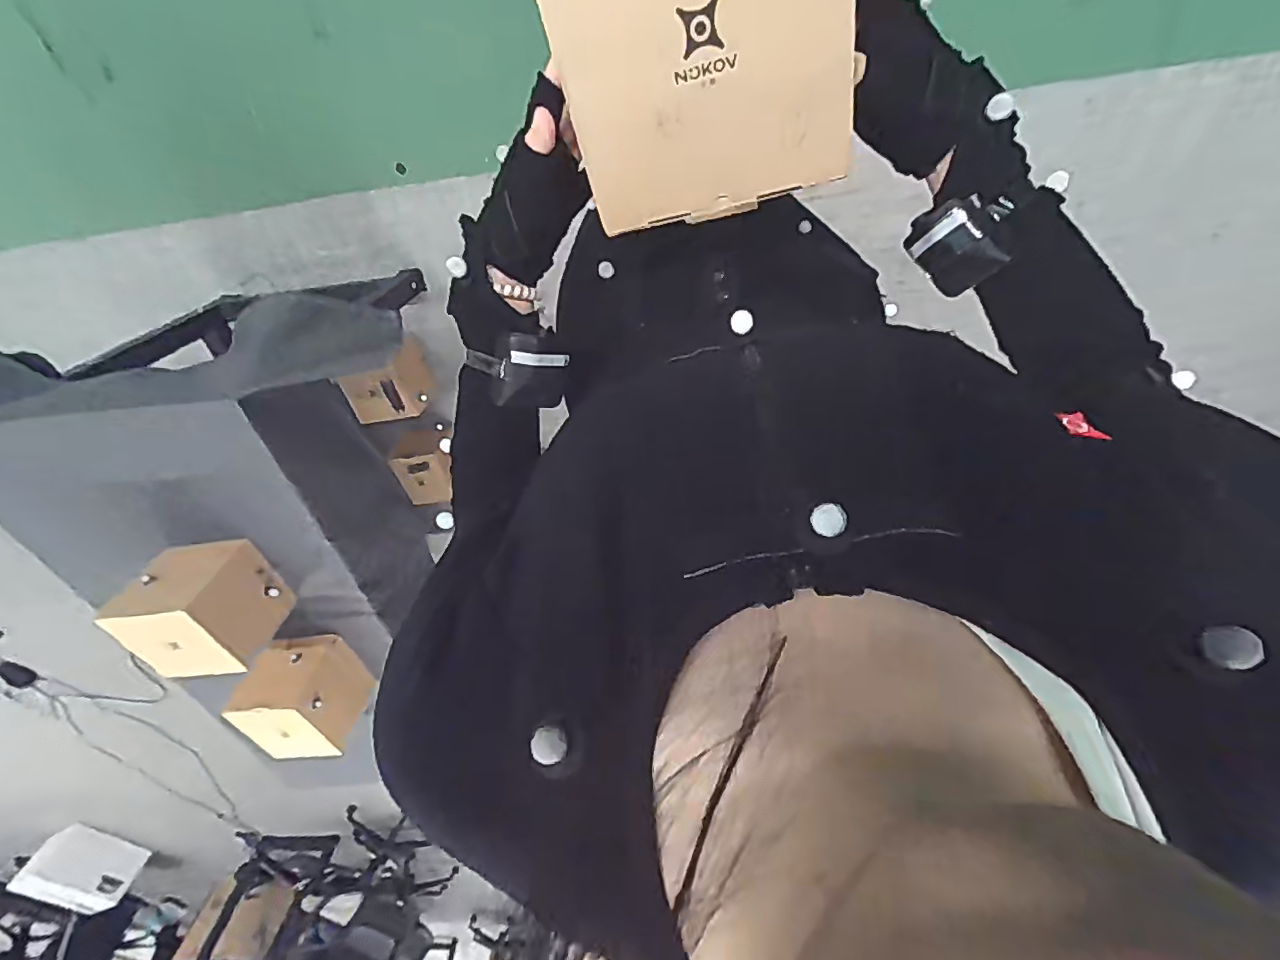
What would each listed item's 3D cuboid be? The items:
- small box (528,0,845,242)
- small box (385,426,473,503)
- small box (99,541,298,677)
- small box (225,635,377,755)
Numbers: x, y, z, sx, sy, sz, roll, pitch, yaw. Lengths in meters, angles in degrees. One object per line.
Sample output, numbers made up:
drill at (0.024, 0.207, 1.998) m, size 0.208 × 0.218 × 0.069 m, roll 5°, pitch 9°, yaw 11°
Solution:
small box at (0.033, -0.293, 0.357) m, size 0.168 × 0.176 × 0.179 m, roll -8°, pitch 136°, yaw 11°
small box at (-0.636, -0.053, 1.651) m, size 0.168 × 0.176 × 0.179 m, roll -6°, pitch 128°, yaw 9°
small box at (-0.766, 0.227, 0.962) m, size 0.179 × 0.176 × 0.168 m, roll -7°, pitch 127°, yaw 9°
small box at (-0.686, 0.446, 1.122) m, size 0.168 × 0.176 × 0.179 m, roll -8°, pitch 126°, yaw 11°
